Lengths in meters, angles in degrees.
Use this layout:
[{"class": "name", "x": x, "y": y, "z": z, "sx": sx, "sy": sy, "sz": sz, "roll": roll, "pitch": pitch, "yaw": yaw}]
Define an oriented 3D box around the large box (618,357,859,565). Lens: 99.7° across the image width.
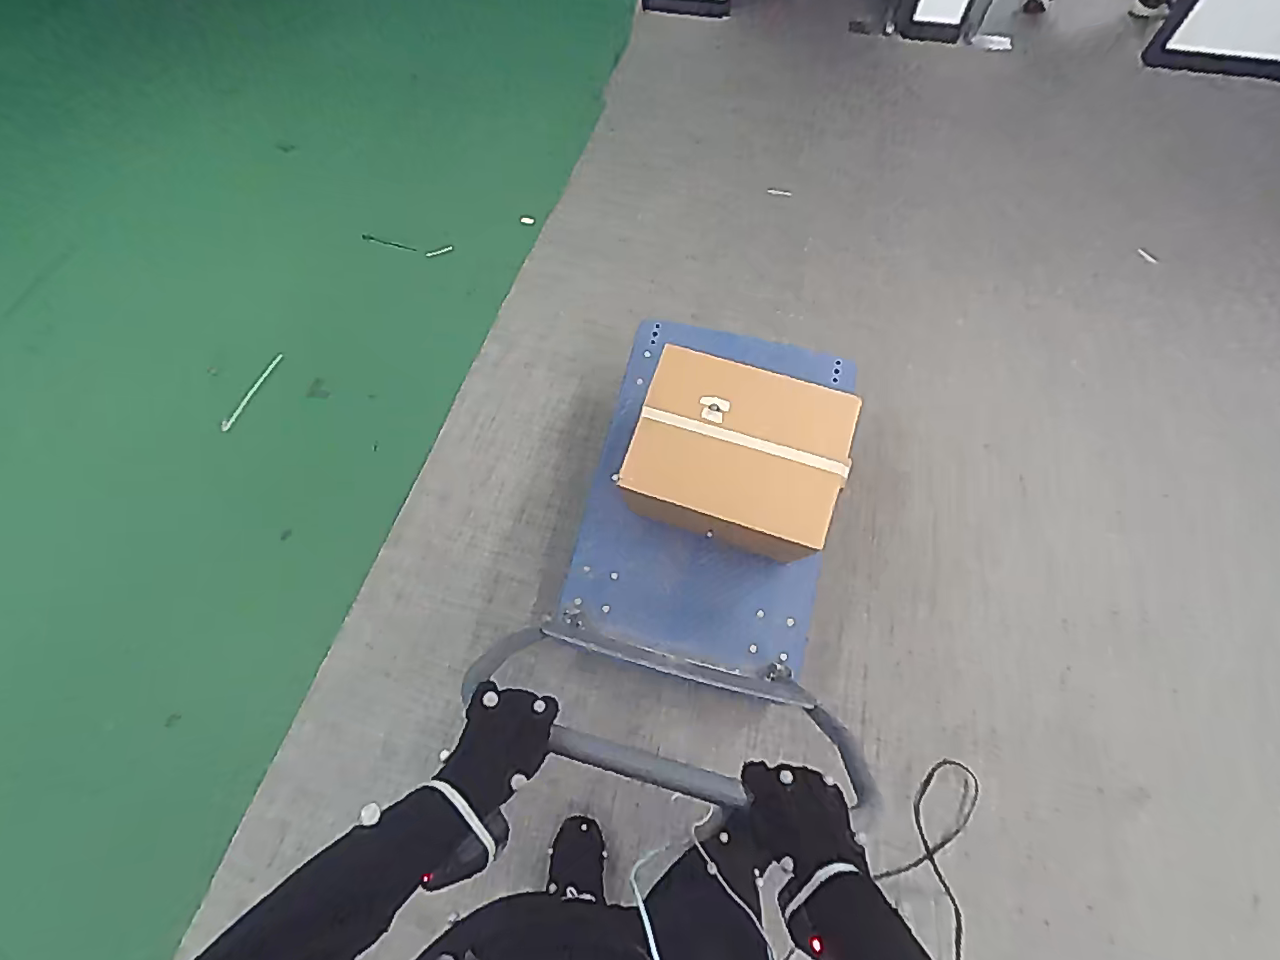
[{"class": "large box", "x": 0.206, "y": -0.023, "z": 1.186, "sx": 0.408, "sy": 0.320, "sz": 0.320, "roll": 18, "pitch": 79, "yaw": 9}]
